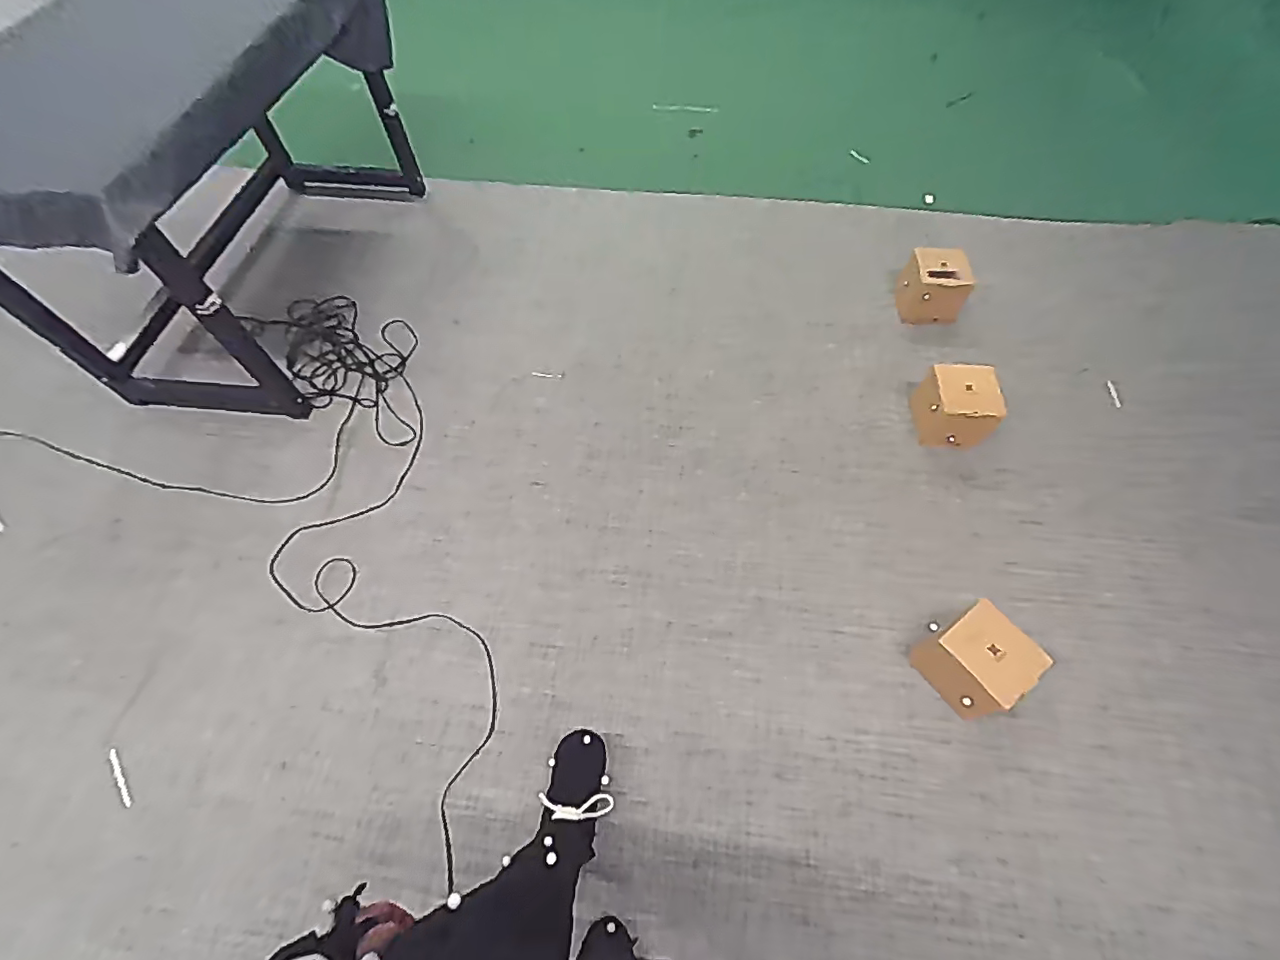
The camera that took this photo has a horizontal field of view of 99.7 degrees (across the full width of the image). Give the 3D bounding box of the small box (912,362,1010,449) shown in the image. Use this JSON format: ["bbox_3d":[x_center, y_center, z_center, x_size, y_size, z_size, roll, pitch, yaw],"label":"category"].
[{"bbox_3d":[0.901,-0.211,1.537,0.168,0.176,0.179,3,61,2],"label":"small box"}]

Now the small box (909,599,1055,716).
[{"bbox_3d":[0.743,0.398,1.194,0.168,0.176,0.179,-32,64,-18],"label":"small box"}]
